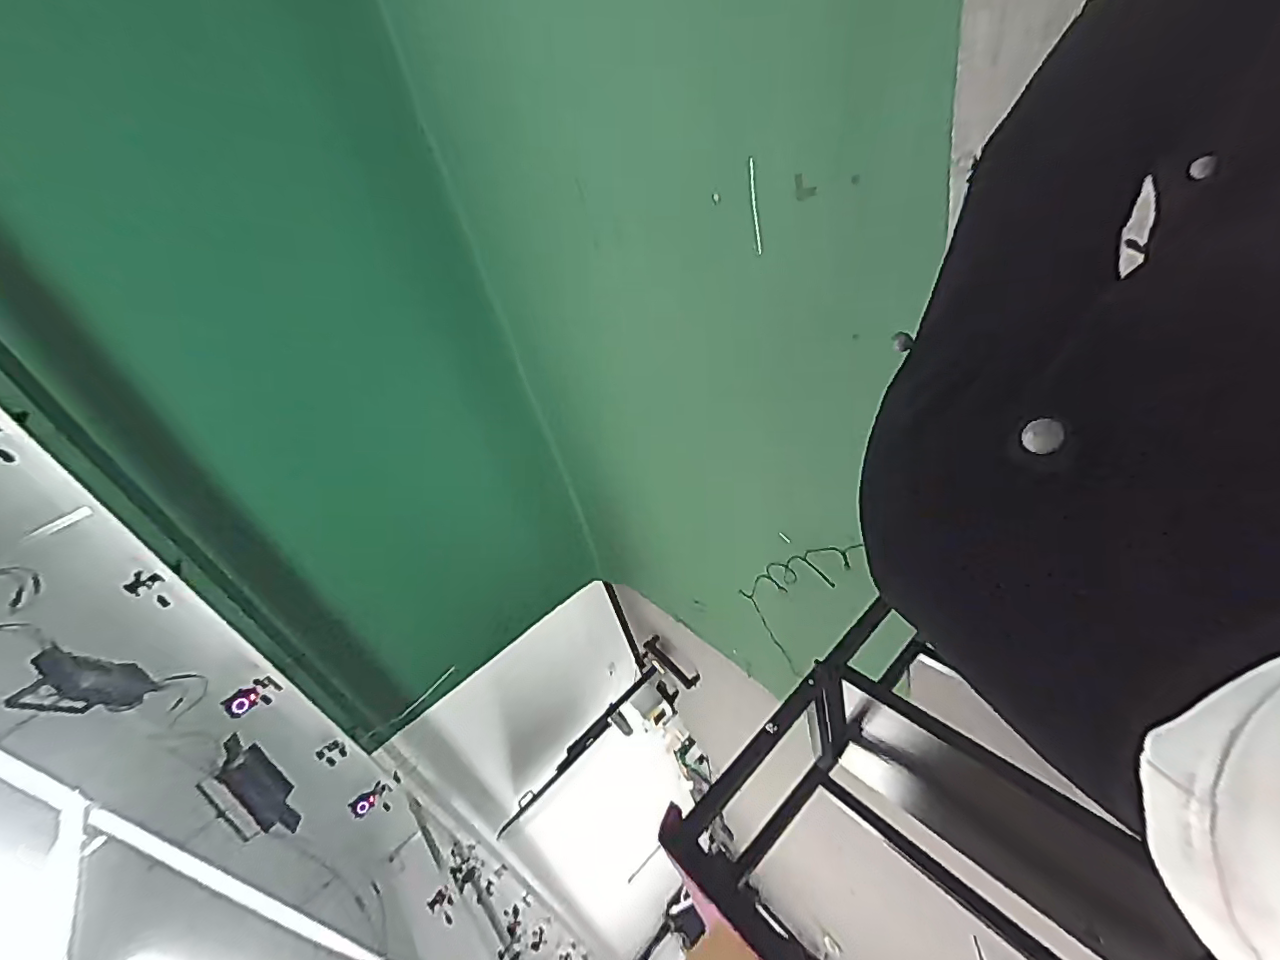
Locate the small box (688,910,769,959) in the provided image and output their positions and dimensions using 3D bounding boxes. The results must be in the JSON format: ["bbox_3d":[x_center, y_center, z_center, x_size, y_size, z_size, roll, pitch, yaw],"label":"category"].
[{"bbox_3d":[0.232,1.242,1.354,0.179,0.176,0.168,28,143,43],"label":"small box"}]
